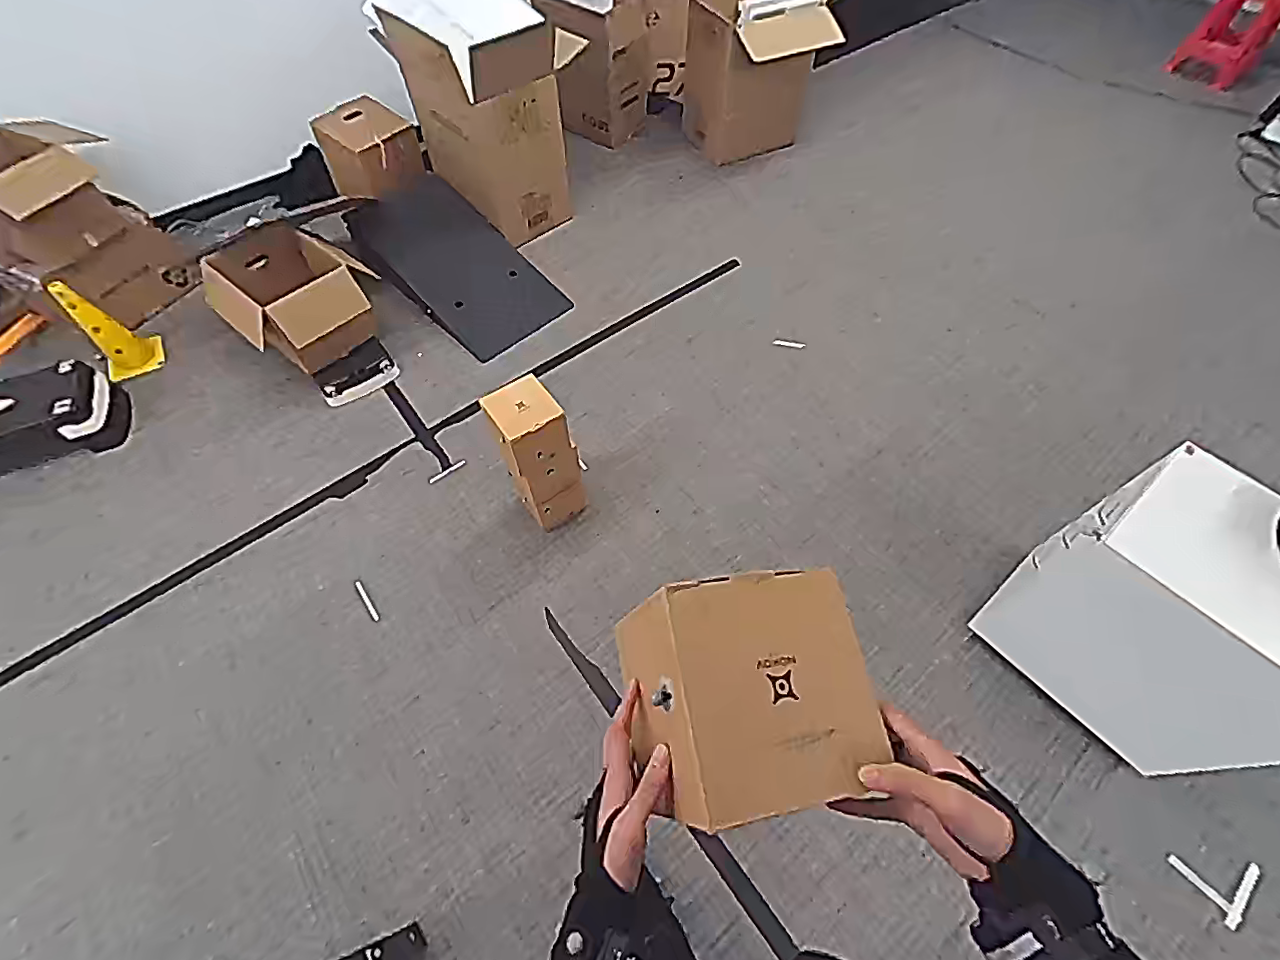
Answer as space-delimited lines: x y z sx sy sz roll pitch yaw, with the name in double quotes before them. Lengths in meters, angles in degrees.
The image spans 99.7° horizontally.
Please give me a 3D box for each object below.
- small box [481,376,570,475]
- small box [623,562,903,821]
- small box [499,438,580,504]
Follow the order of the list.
"small box" -0.308 -0.146 1.479 0.168 0.176 0.179 -32 63 -19
"small box" 0.089 0.186 0.490 0.168 0.176 0.179 -1 65 -18
"small box" -0.295 -0.059 1.616 0.179 0.176 0.168 -34 63 -20
